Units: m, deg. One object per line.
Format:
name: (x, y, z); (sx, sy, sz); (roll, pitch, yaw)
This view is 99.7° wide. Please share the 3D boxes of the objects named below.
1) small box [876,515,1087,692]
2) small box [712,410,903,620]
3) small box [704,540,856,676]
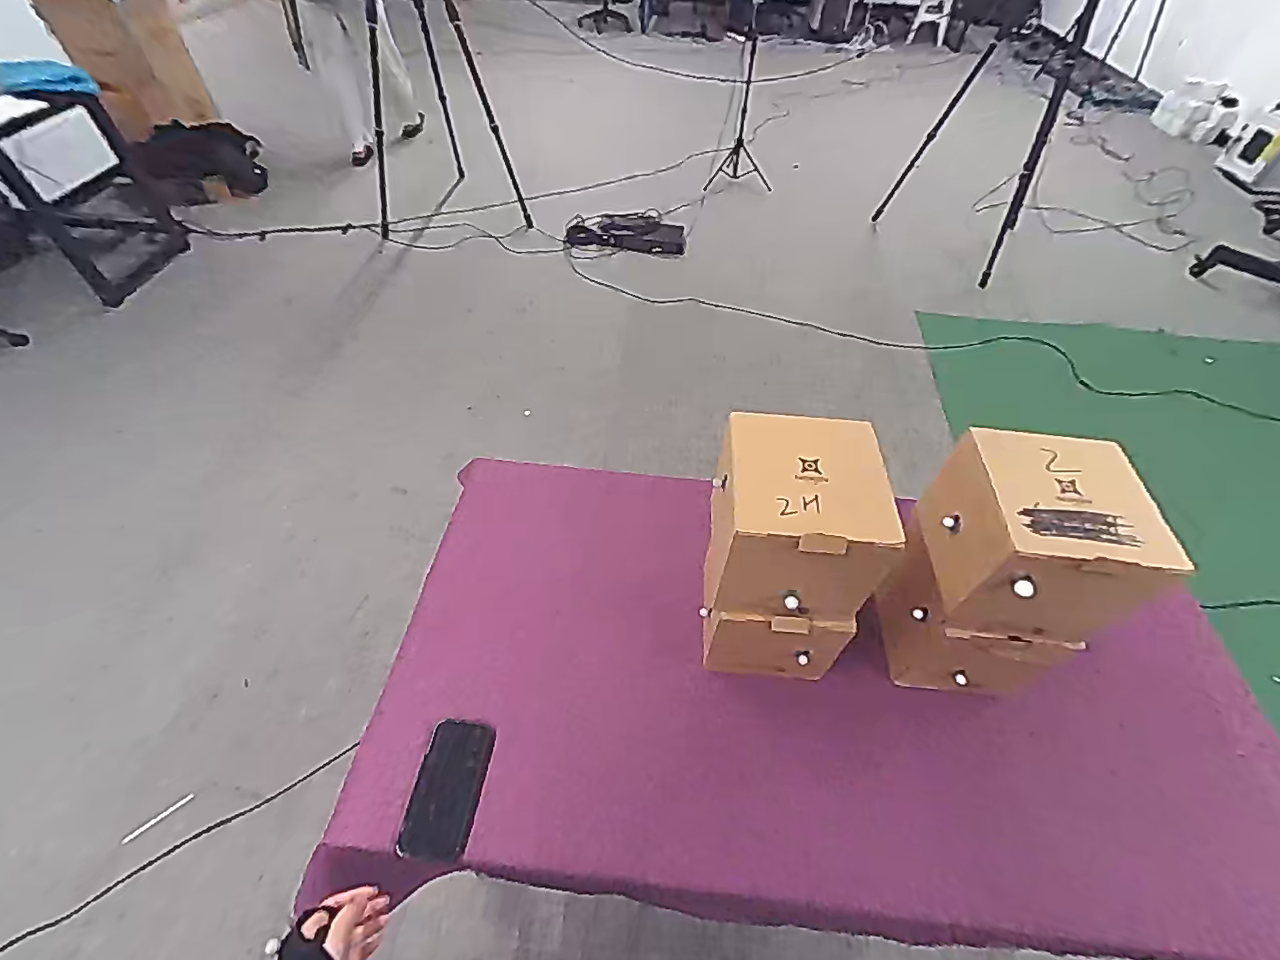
small box: (0.447, 0.172, 0.748); (0.168, 0.176, 0.179); (4, 51, 3)
small box: (0.176, 0.043, 0.636); (0.168, 0.176, 0.179); (4, 50, 2)
small box: (0.183, 0.157, 0.755); (0.168, 0.176, 0.179); (5, 50, 2)
